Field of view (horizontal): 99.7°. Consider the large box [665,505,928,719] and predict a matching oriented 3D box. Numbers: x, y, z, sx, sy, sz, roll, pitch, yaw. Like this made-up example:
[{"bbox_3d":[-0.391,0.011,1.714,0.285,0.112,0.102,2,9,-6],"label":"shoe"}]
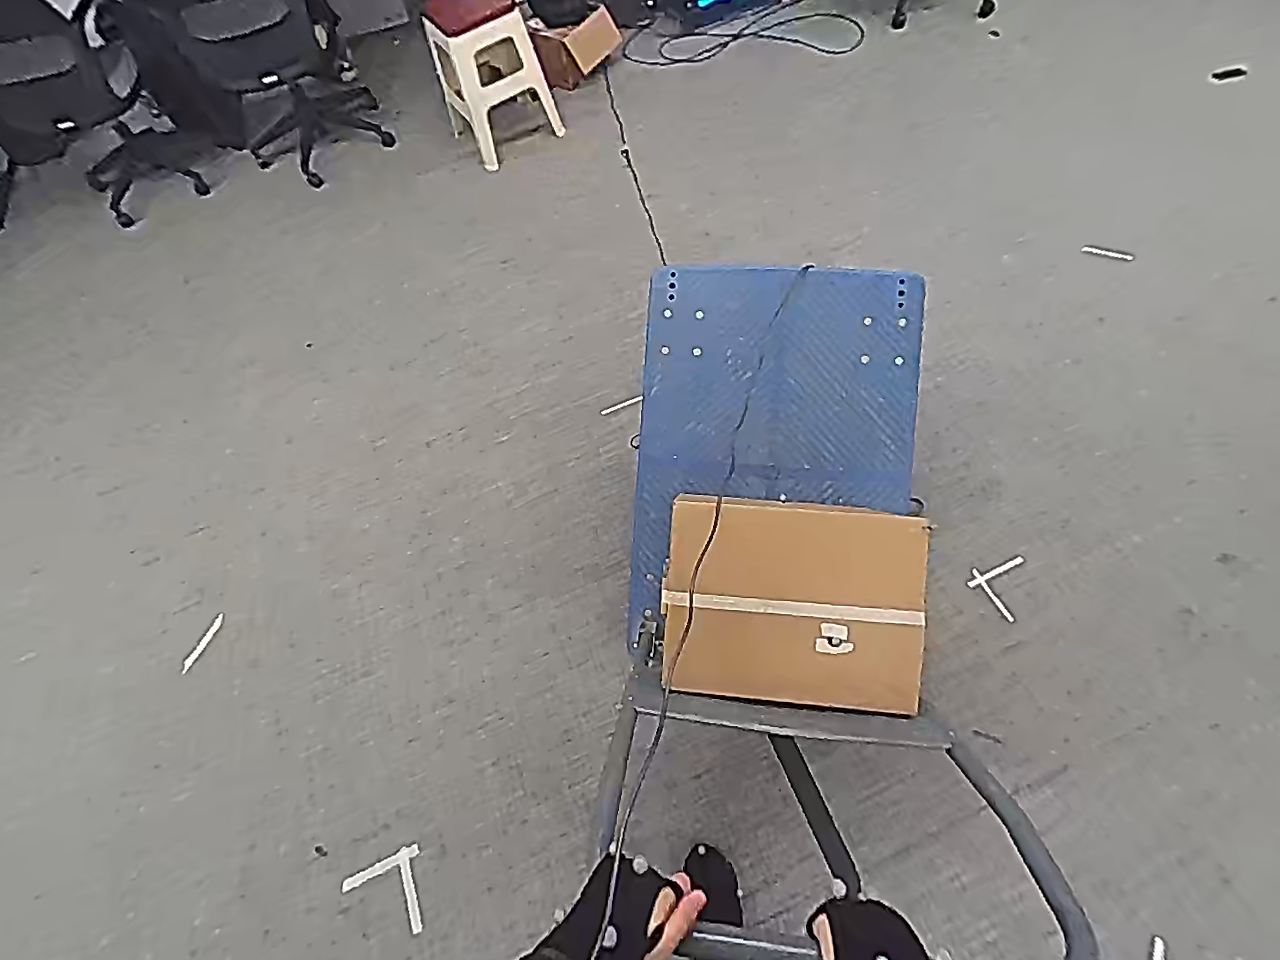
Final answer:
[{"bbox_3d":[0.257,0.213,1.011,0.408,0.320,0.320,4,91,5],"label":"large box"}]
